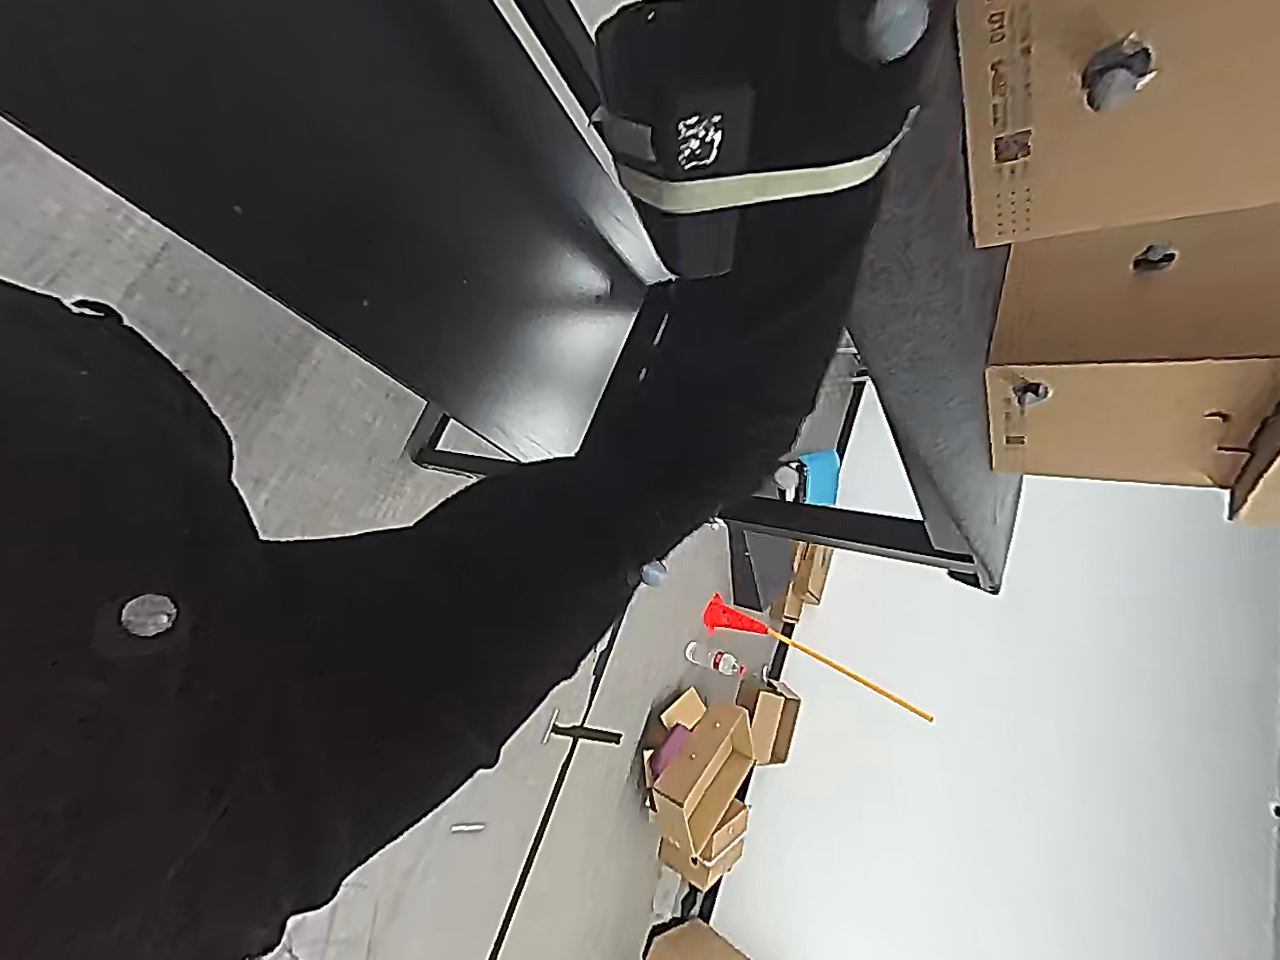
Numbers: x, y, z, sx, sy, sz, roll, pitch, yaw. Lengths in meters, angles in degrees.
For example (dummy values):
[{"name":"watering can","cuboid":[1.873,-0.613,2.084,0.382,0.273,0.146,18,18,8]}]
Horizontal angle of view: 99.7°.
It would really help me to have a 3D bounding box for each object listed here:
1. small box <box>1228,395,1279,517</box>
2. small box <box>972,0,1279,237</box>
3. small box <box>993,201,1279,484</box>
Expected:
[{"name":"small box","cuboid":[0.526,-0.071,0.355,0.168,0.176,0.179,38,66,-49]},{"name":"small box","cuboid":[0.256,-0.245,0.242,0.168,0.176,0.179,42,62,-46]},{"name":"small box","cuboid":[0.410,-0.116,0.464,0.168,0.176,0.179,45,60,-45]}]
